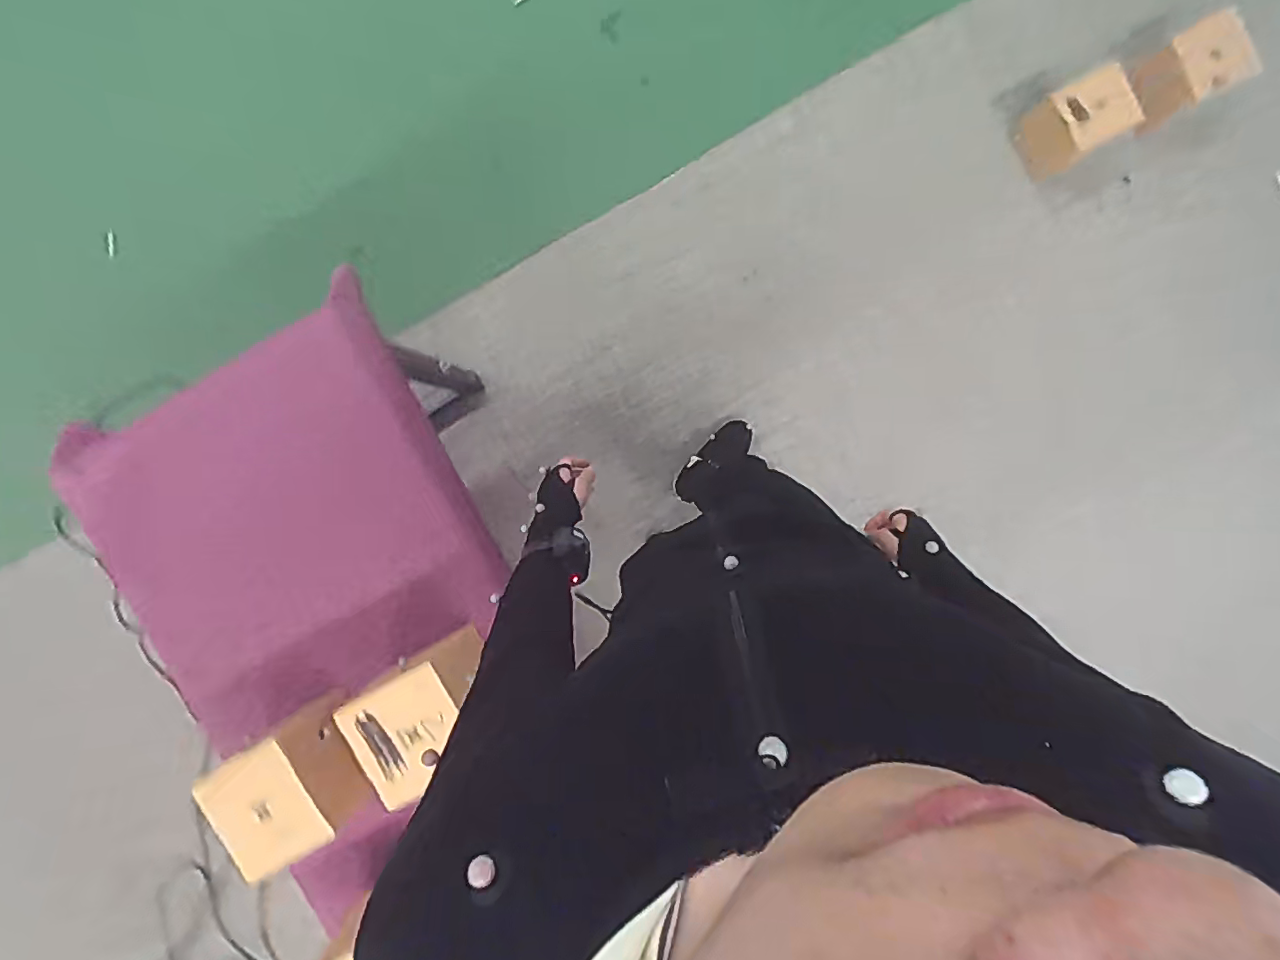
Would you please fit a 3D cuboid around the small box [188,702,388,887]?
[{"bbox_3d":[-0.555,0.490,0.877,0.168,0.176,0.179,-31,92,6],"label":"small box"}]

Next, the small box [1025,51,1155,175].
[{"bbox_3d":[1.141,-0.933,1.393,0.179,0.176,0.168,-27,92,4],"label":"small box"}]

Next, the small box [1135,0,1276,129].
[{"bbox_3d":[1.406,-1.046,1.368,0.168,0.176,0.179,-26,91,5],"label":"small box"}]
